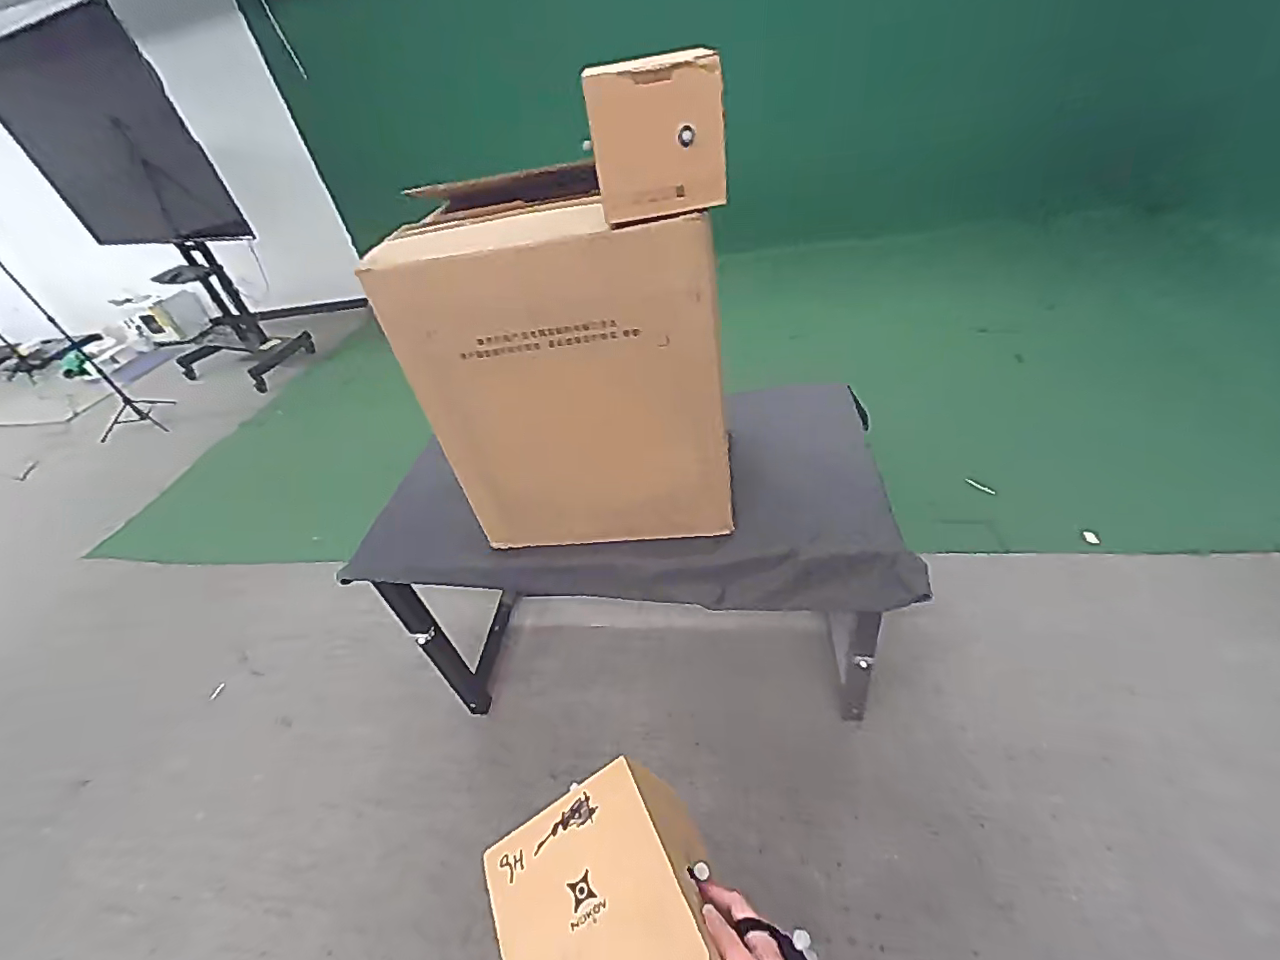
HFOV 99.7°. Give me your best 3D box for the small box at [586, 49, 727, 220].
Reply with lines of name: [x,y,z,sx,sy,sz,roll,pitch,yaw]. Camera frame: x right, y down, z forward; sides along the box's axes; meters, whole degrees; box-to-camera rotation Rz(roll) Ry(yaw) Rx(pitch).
small box: [0.026,-0.471,0.745,0.168,0.176,0.179,-7,39,3]

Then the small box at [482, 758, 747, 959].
small box: [-0.020,0.410,0.521,0.168,0.176,0.179,-34,45,-3]
